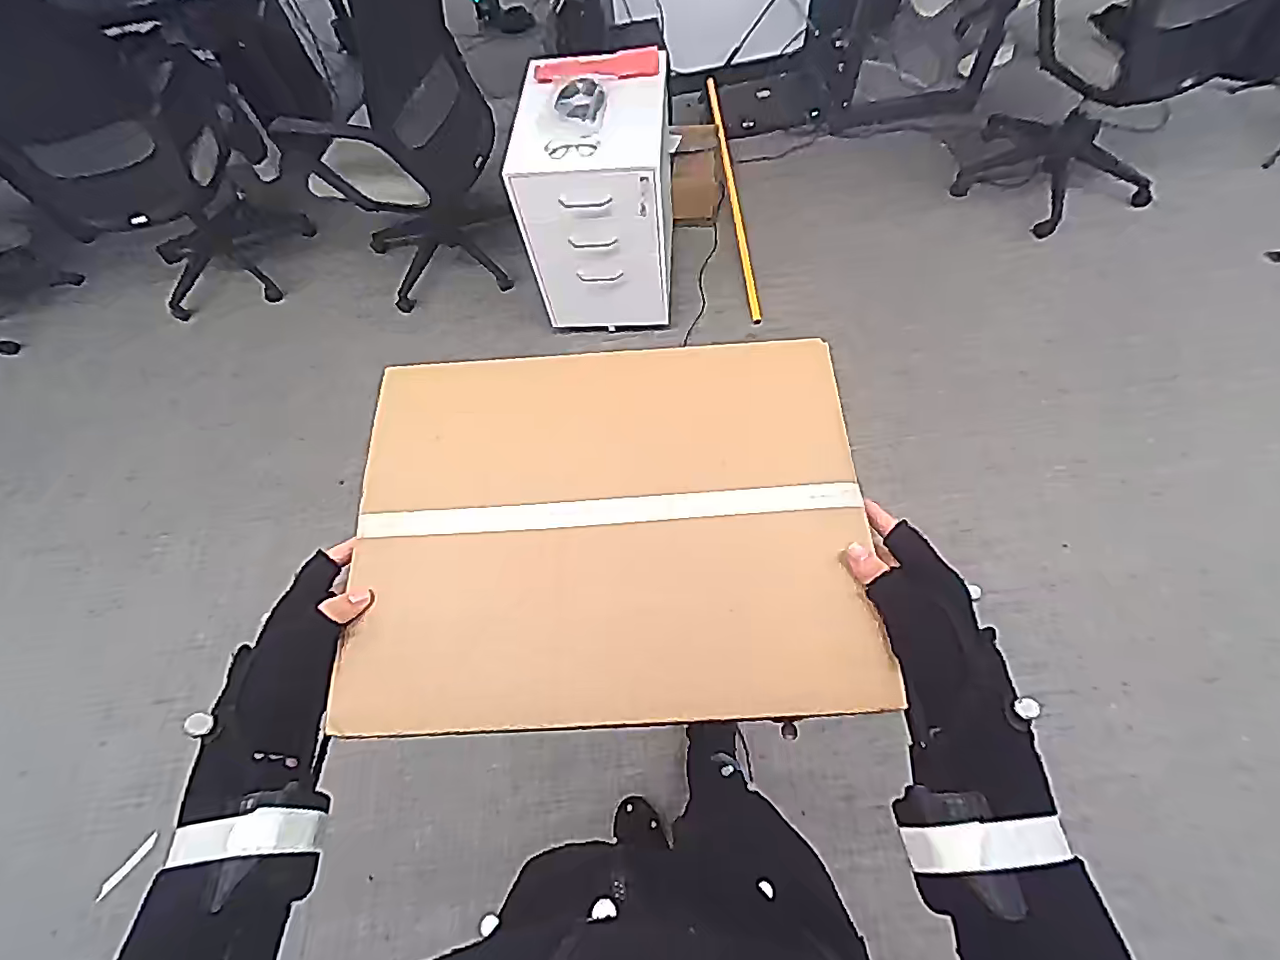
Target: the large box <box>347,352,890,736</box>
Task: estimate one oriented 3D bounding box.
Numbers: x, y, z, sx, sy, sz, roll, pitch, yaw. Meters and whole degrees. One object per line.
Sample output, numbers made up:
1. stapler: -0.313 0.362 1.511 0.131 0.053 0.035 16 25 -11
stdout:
1. large box: -0.017 0.090 0.584 0.408 0.320 0.320 -3 66 1
